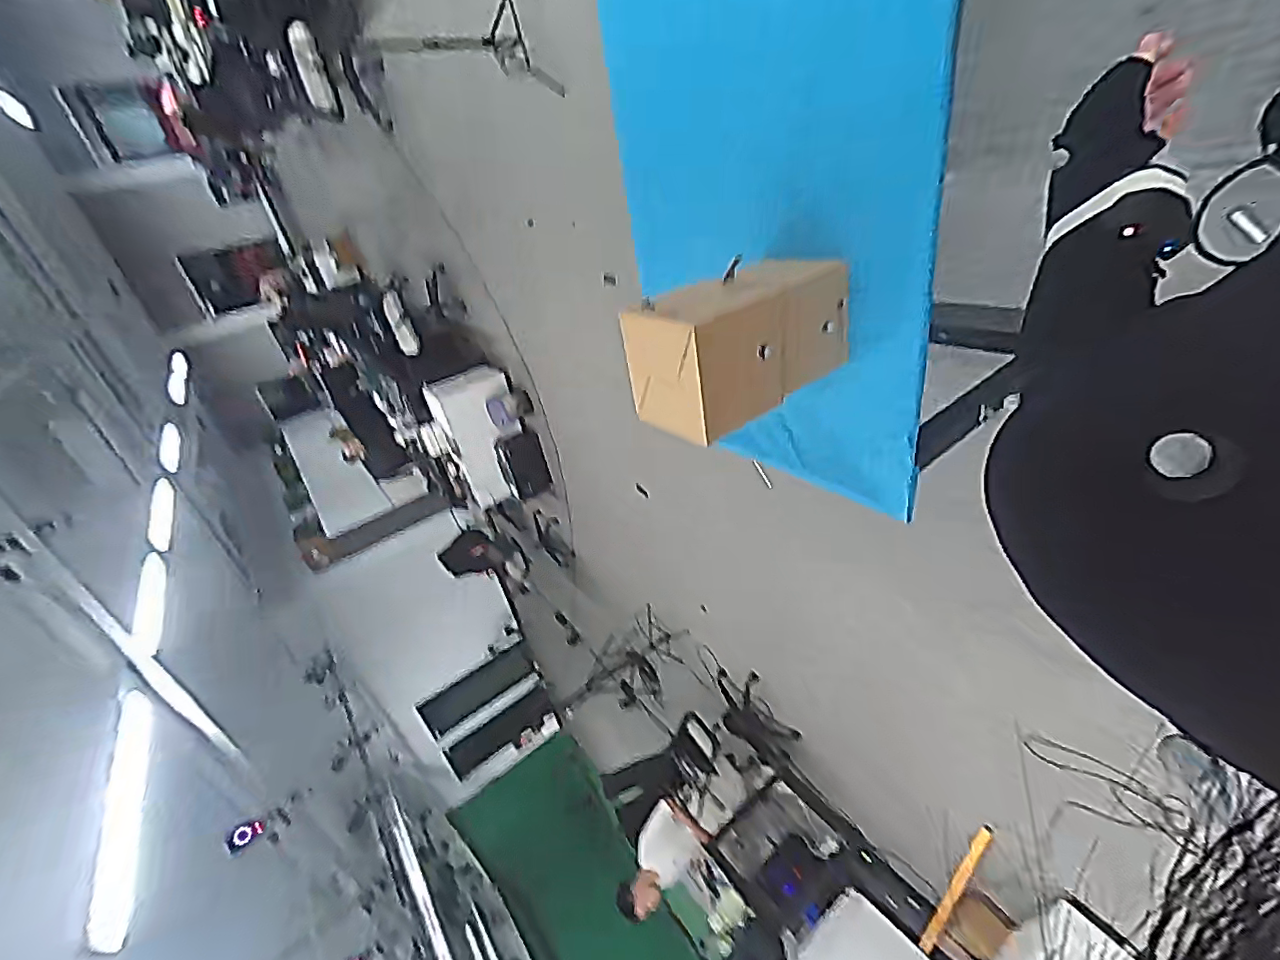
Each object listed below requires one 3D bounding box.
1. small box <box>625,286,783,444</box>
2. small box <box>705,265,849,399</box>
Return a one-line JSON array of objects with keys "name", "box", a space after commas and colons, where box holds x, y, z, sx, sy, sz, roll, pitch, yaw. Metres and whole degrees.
[{"name": "small box", "box": [0.096, -0.179, 0.820, 0.168, 0.176, 0.179, 29, 139, 47]}, {"name": "small box", "box": [0.220, -0.253, 0.905, 0.179, 0.176, 0.168, 28, 140, 44]}]
